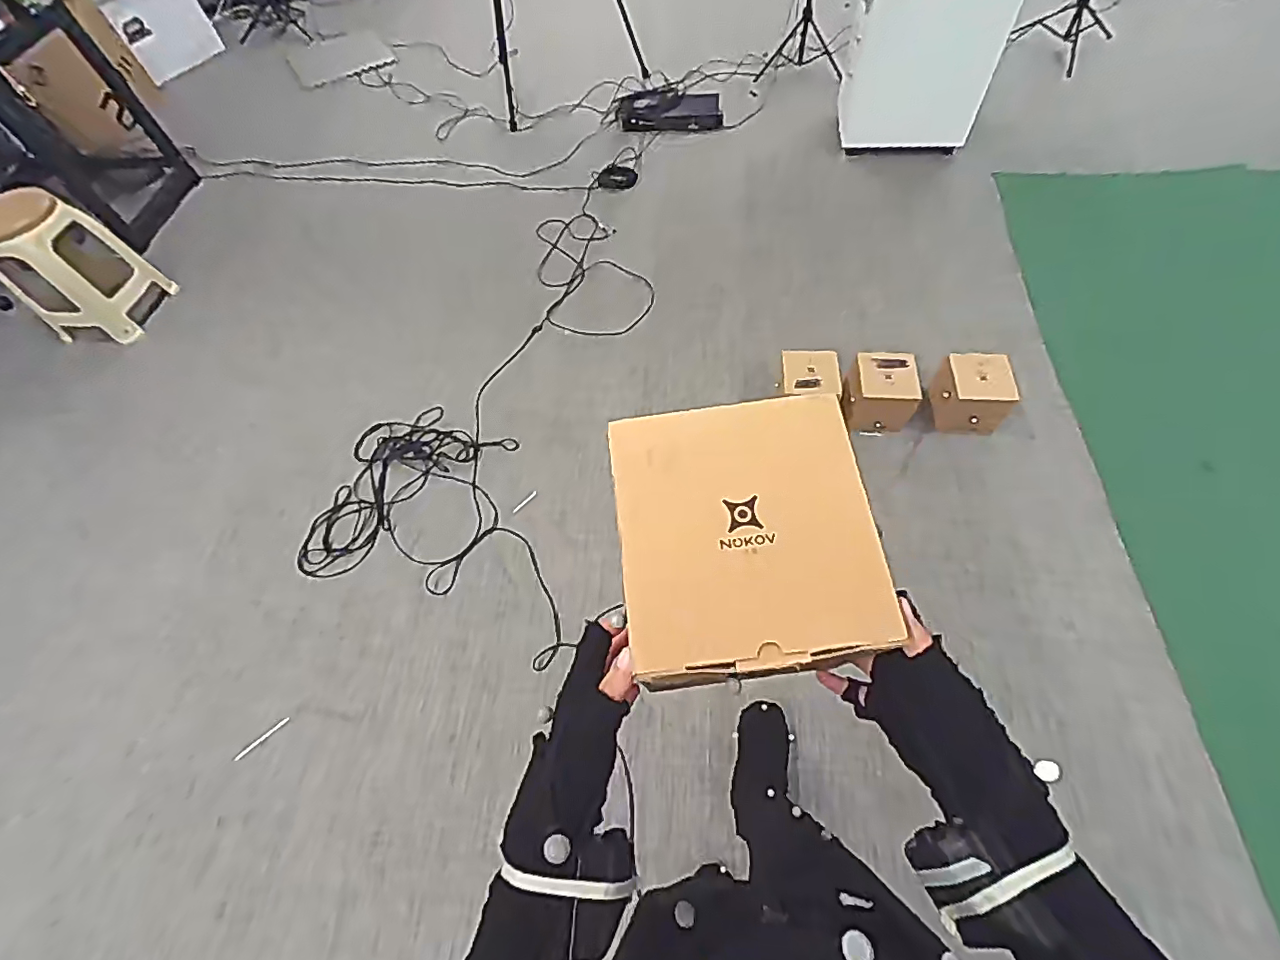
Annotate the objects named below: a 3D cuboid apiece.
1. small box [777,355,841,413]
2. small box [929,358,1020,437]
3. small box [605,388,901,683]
[{"bbox_3d":[0.521,-0.266,1.684,0.168,0.176,0.179,1,58,7],"label":"small box"},{"bbox_3d":[0.998,-0.245,1.628,0.168,0.176,0.179,3,60,6],"label":"small box"},{"bbox_3d":[0.068,0.054,0.424,0.168,0.176,0.179,-8,66,1],"label":"small box"}]
